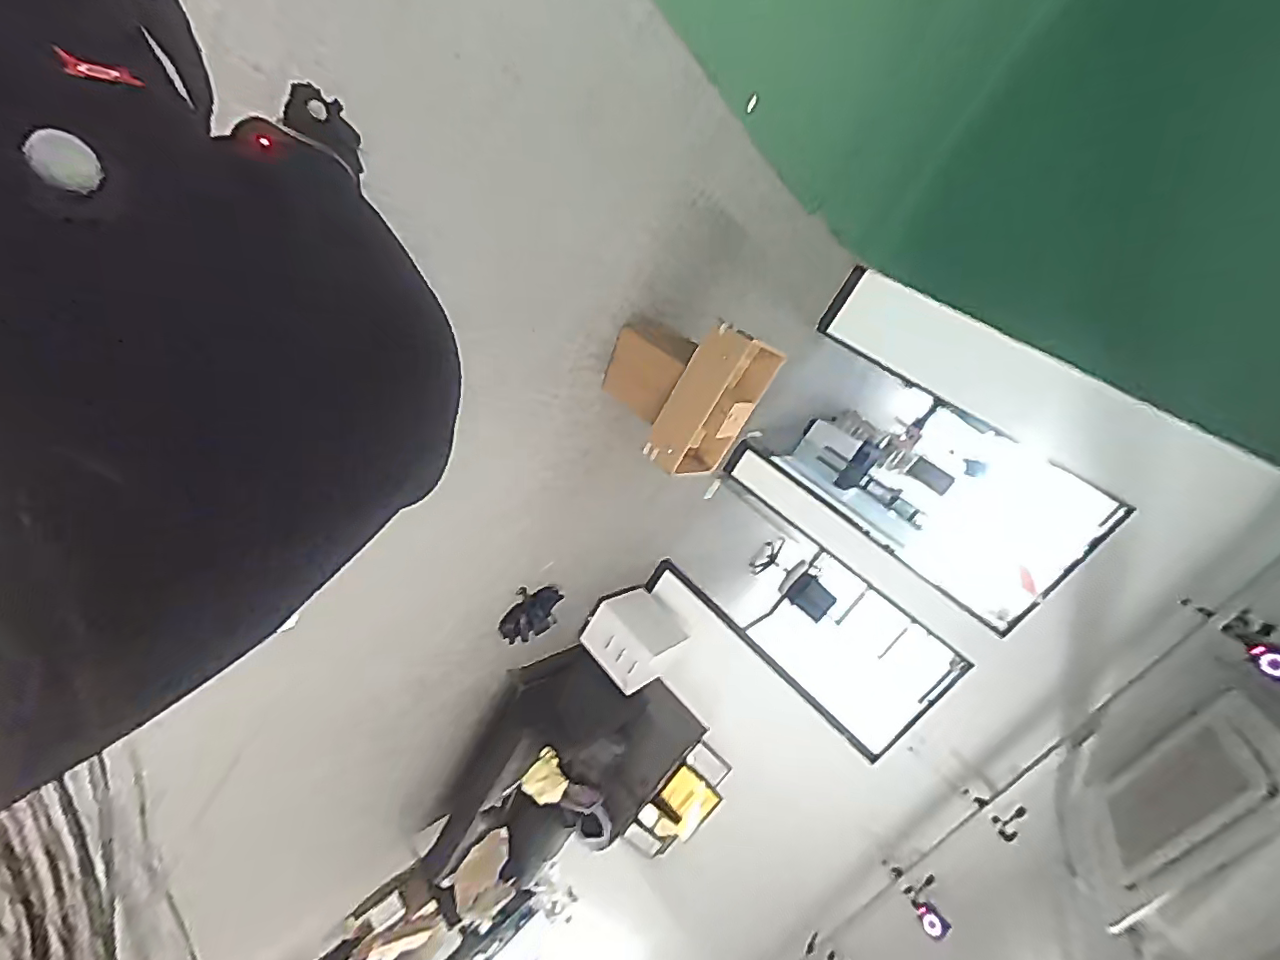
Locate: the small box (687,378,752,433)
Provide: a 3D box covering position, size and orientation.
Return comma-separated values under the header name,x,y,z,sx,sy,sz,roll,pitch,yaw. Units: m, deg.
name,x,y,z,sx,sy,sz,roll,pitch,yaw
small box,0.329,-0.312,2.240,0.179,0.176,0.168,-13,135,-53
